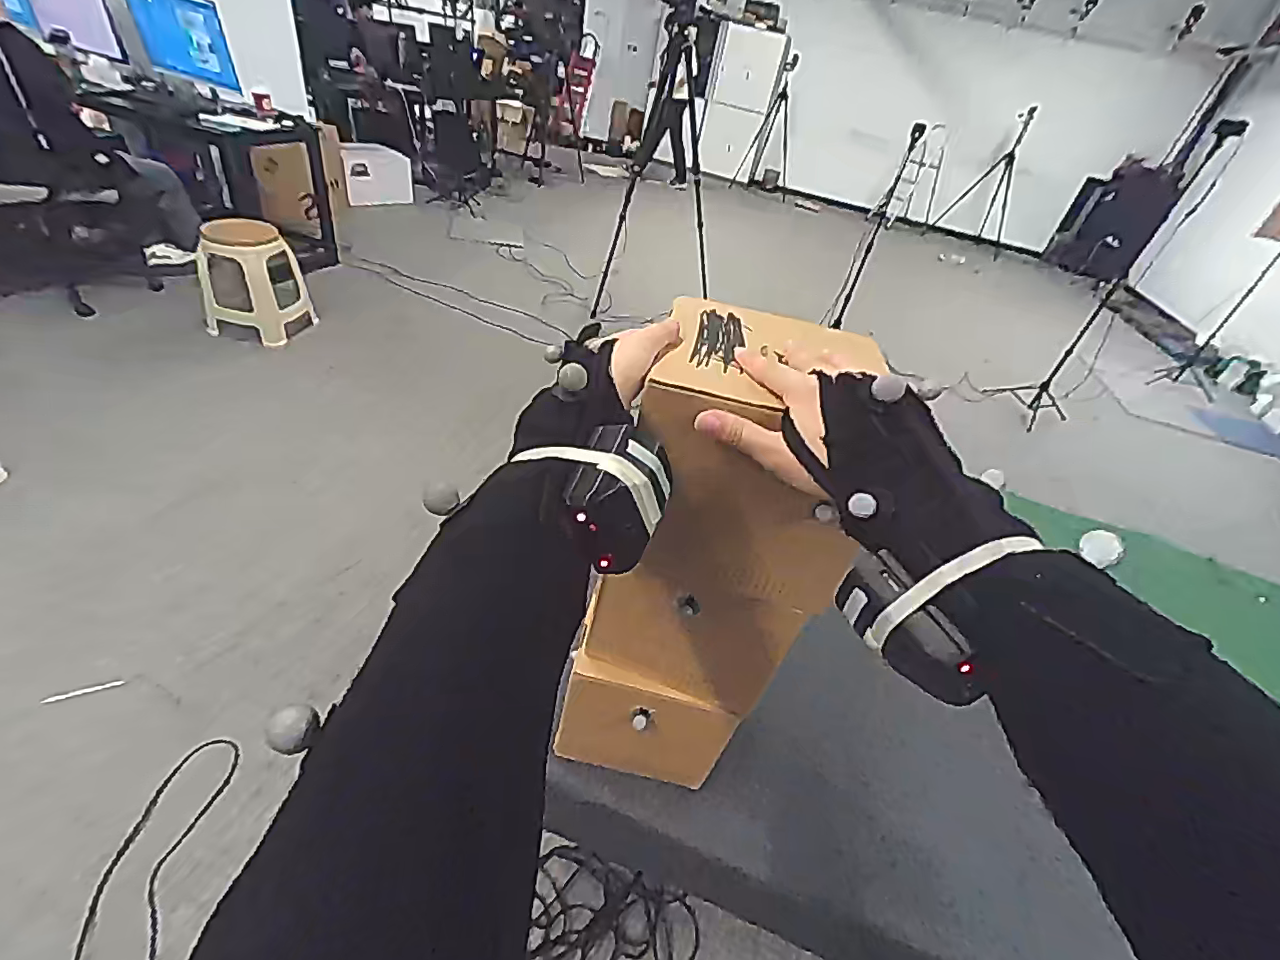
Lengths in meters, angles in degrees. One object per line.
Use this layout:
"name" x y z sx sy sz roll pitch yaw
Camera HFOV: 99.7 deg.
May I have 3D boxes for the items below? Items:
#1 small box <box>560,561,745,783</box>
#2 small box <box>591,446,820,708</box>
"small box" 0.016 0.225 0.633 0.179 0.176 0.168 13 37 1
"small box" 0.063 0.097 0.546 0.179 0.176 0.168 19 38 8
